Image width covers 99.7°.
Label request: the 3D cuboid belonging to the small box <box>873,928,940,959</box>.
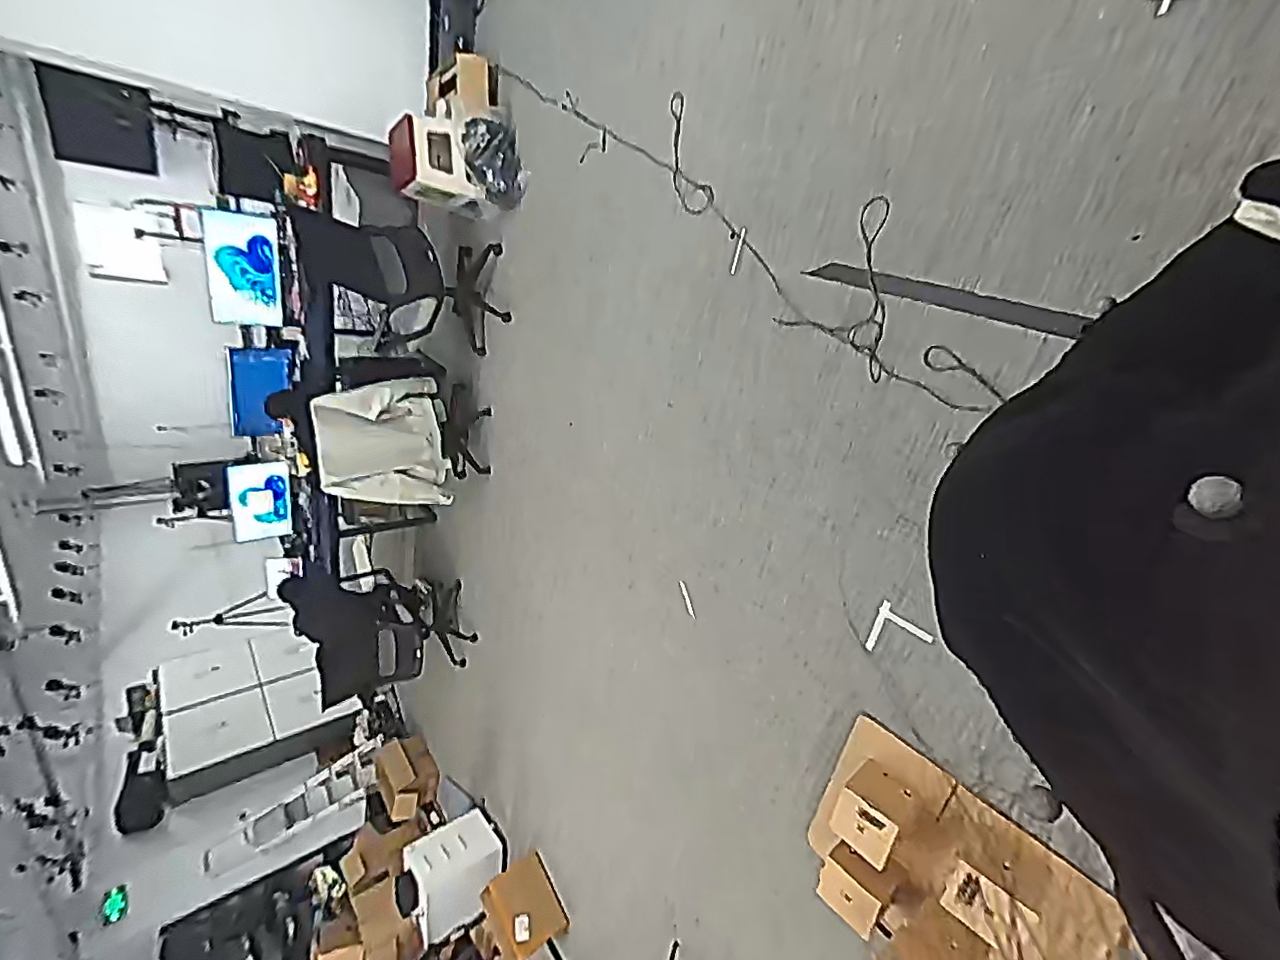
[{"bbox_3d":[0.695,1.323,1.403,0.179,0.176,0.168,31,121,41],"label":"small box"}]

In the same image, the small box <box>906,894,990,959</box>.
[{"bbox_3d":[0.833,1.311,1.496,0.179,0.176,0.168,26,116,42],"label":"small box"}]

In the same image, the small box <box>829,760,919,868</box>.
[{"bbox_3d":[0.692,0.971,1.590,0.168,0.176,0.179,28,117,42],"label":"small box"}]

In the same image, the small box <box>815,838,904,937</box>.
[{"bbox_3d":[0.675,1.223,1.661,0.179,0.176,0.168,26,117,42],"label":"small box"}]
